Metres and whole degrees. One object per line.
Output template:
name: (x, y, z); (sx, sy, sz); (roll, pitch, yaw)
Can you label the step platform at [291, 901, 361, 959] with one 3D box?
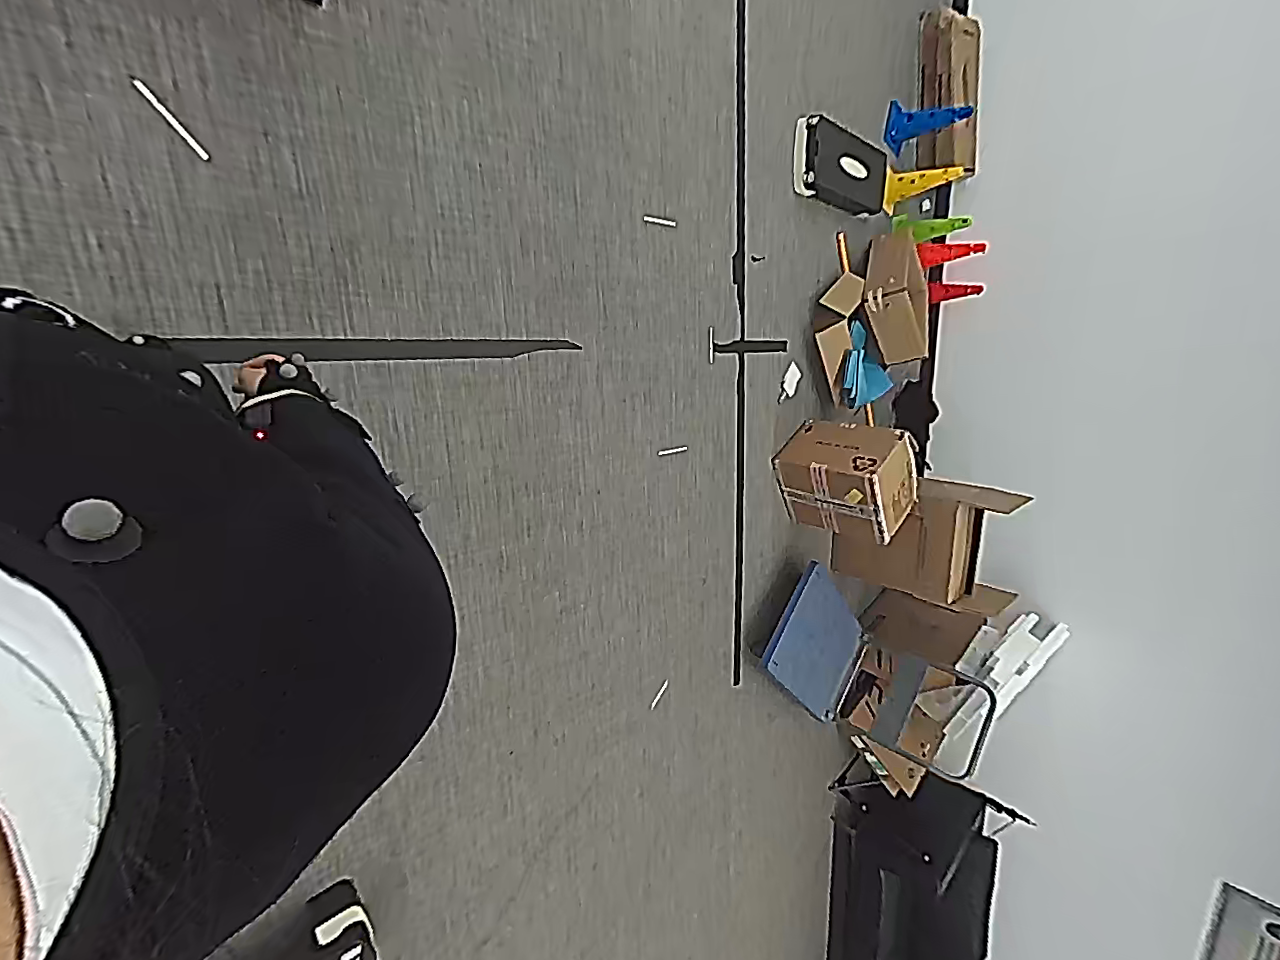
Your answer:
step platform: (-0.979, 1.305, 1.184); (0.684, 0.204, 0.286); (-15, 109, -42)
